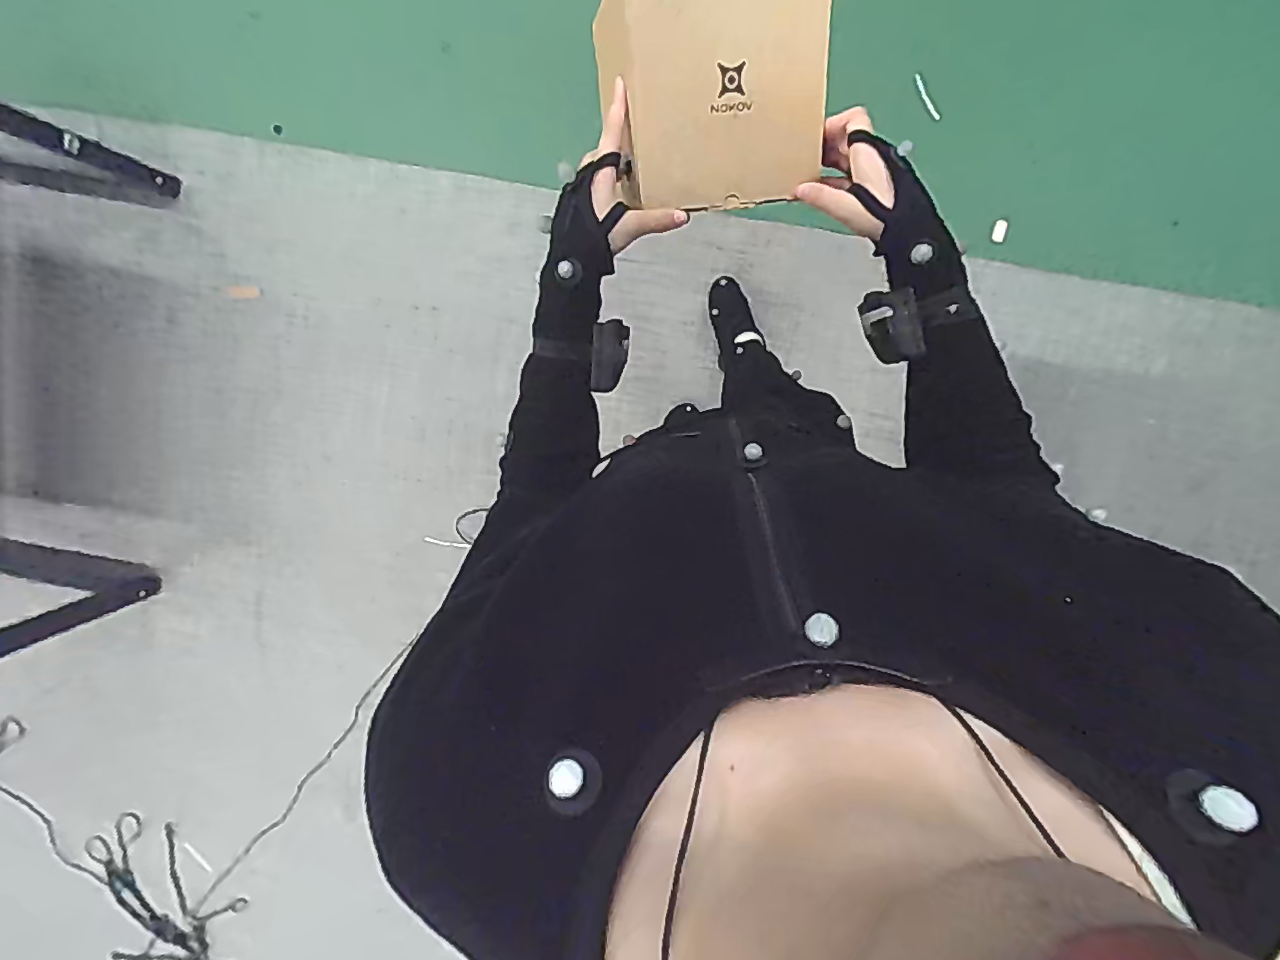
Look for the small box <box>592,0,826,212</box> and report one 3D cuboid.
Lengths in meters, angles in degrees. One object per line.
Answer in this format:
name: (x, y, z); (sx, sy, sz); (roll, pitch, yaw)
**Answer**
small box: (0.053, -0.353, 0.499); (0.168, 0.176, 0.179); (-10, 117, -7)
